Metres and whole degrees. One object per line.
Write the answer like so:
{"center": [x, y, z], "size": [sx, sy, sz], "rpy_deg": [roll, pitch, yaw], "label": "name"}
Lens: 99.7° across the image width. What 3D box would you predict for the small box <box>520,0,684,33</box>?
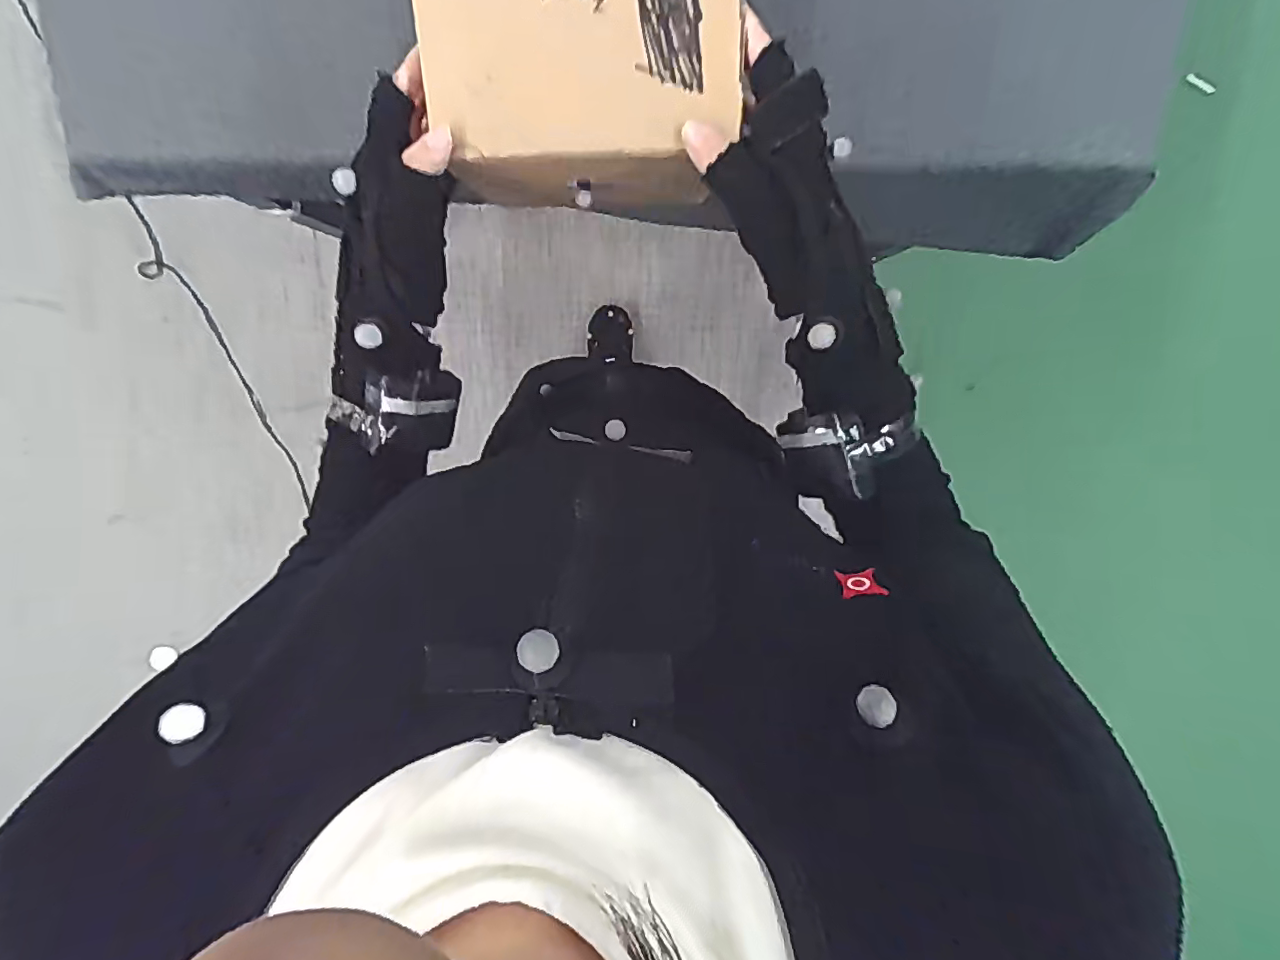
{"center": [-0.039, -0.537, 0.480], "size": [0.168, 0.176, 0.179], "rpy_deg": [0, 103, 2], "label": "small box"}
